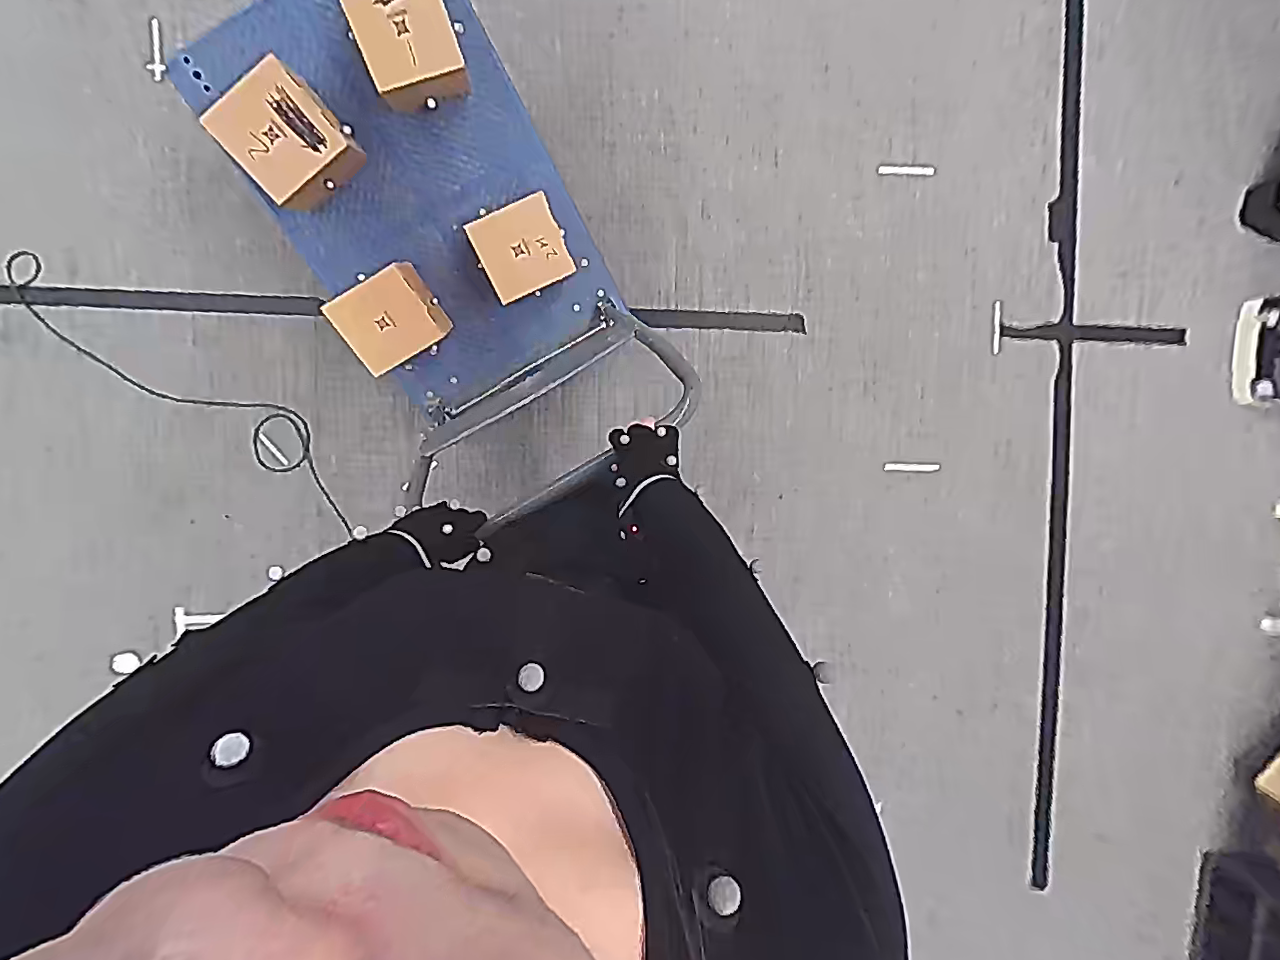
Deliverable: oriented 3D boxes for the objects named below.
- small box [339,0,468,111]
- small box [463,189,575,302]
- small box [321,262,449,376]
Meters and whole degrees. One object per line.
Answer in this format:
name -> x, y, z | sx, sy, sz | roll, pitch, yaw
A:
small box -> -0.433, -0.821, 1.001 | 0.168, 0.176, 0.179 | -21, 116, -4
small box -> -0.257, -0.501, 1.170 | 0.179, 0.176, 0.168 | -26, 115, -1
small box -> -0.536, -0.349, 1.170 | 0.179, 0.176, 0.168 | -32, 115, 0
